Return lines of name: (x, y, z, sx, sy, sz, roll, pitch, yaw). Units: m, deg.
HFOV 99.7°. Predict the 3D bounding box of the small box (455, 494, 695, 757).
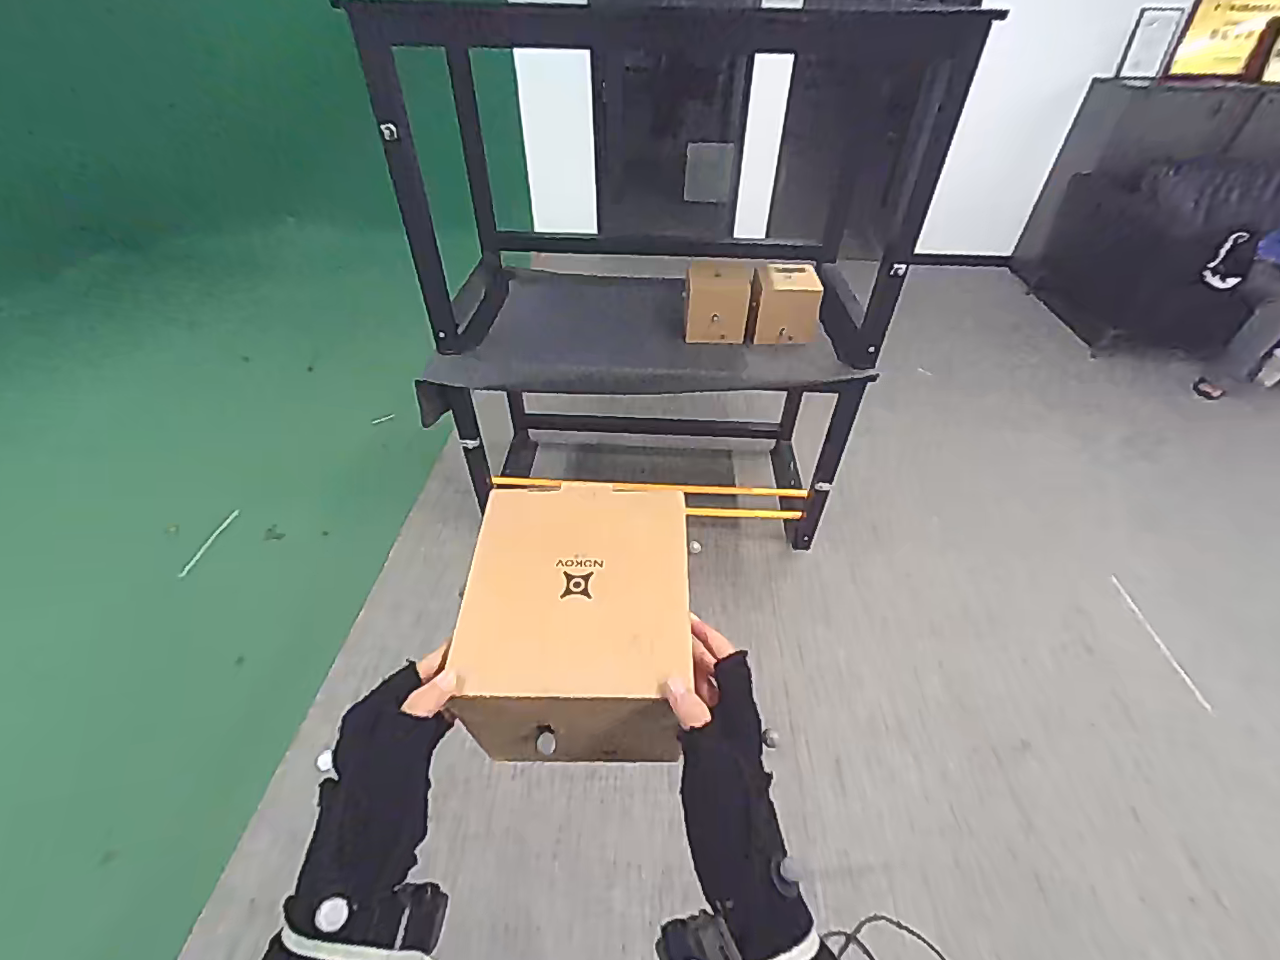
small box: (-0.042, 0.131, 0.471, 0.168, 0.176, 0.179, 0, 49, -1)
